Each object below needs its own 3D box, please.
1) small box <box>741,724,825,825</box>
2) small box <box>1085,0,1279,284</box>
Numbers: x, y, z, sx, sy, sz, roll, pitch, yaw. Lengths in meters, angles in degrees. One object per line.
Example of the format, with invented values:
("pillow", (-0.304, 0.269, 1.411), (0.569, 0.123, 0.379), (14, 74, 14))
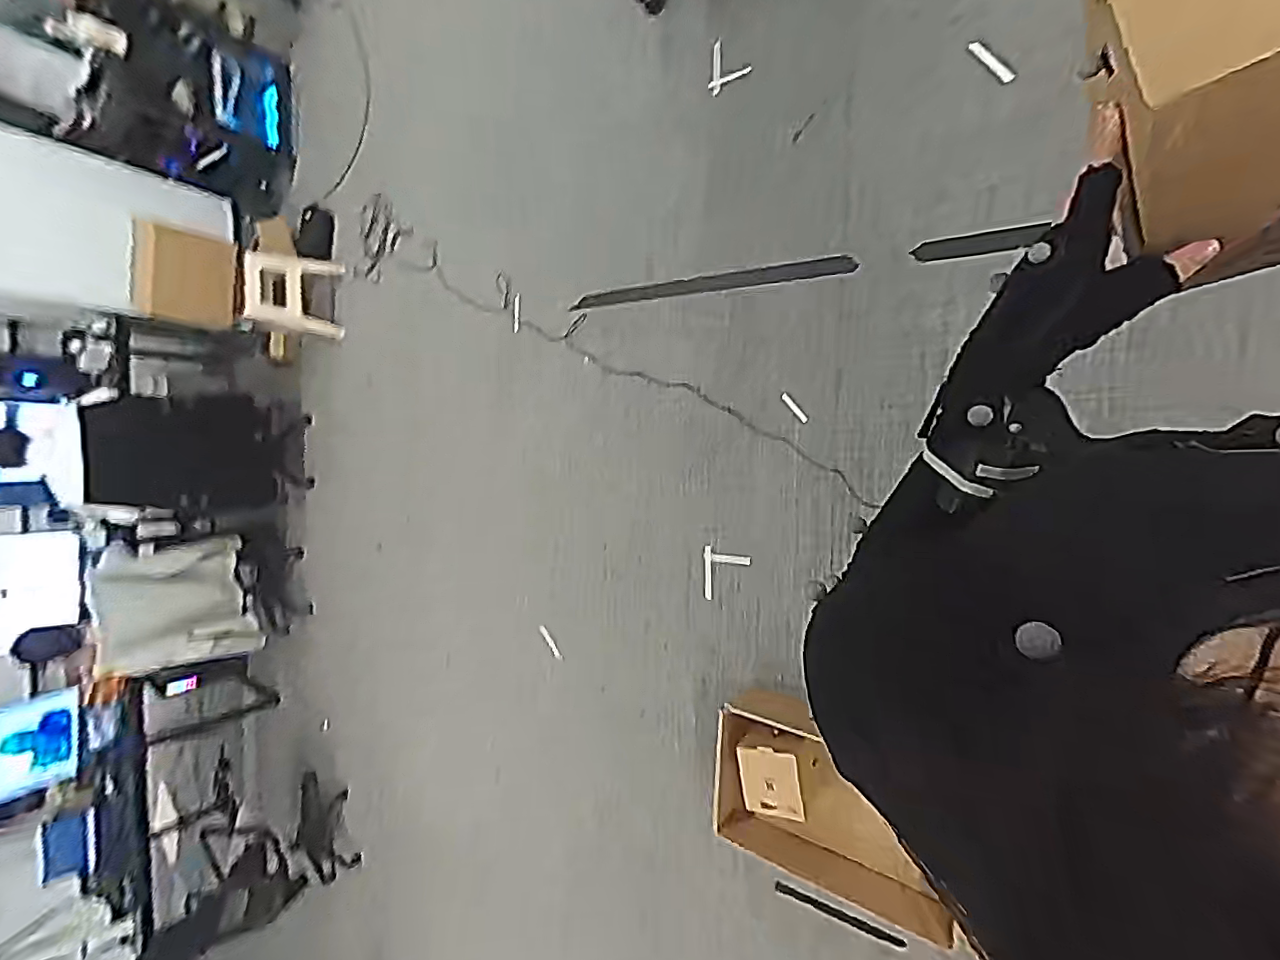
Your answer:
("small box", (0.393, 0.789, 1.474), (0.168, 0.176, 0.179), (-9, 88, 35))
("small box", (0.364, -0.248, 0.295), (0.168, 0.176, 0.179), (-14, 60, 39))
